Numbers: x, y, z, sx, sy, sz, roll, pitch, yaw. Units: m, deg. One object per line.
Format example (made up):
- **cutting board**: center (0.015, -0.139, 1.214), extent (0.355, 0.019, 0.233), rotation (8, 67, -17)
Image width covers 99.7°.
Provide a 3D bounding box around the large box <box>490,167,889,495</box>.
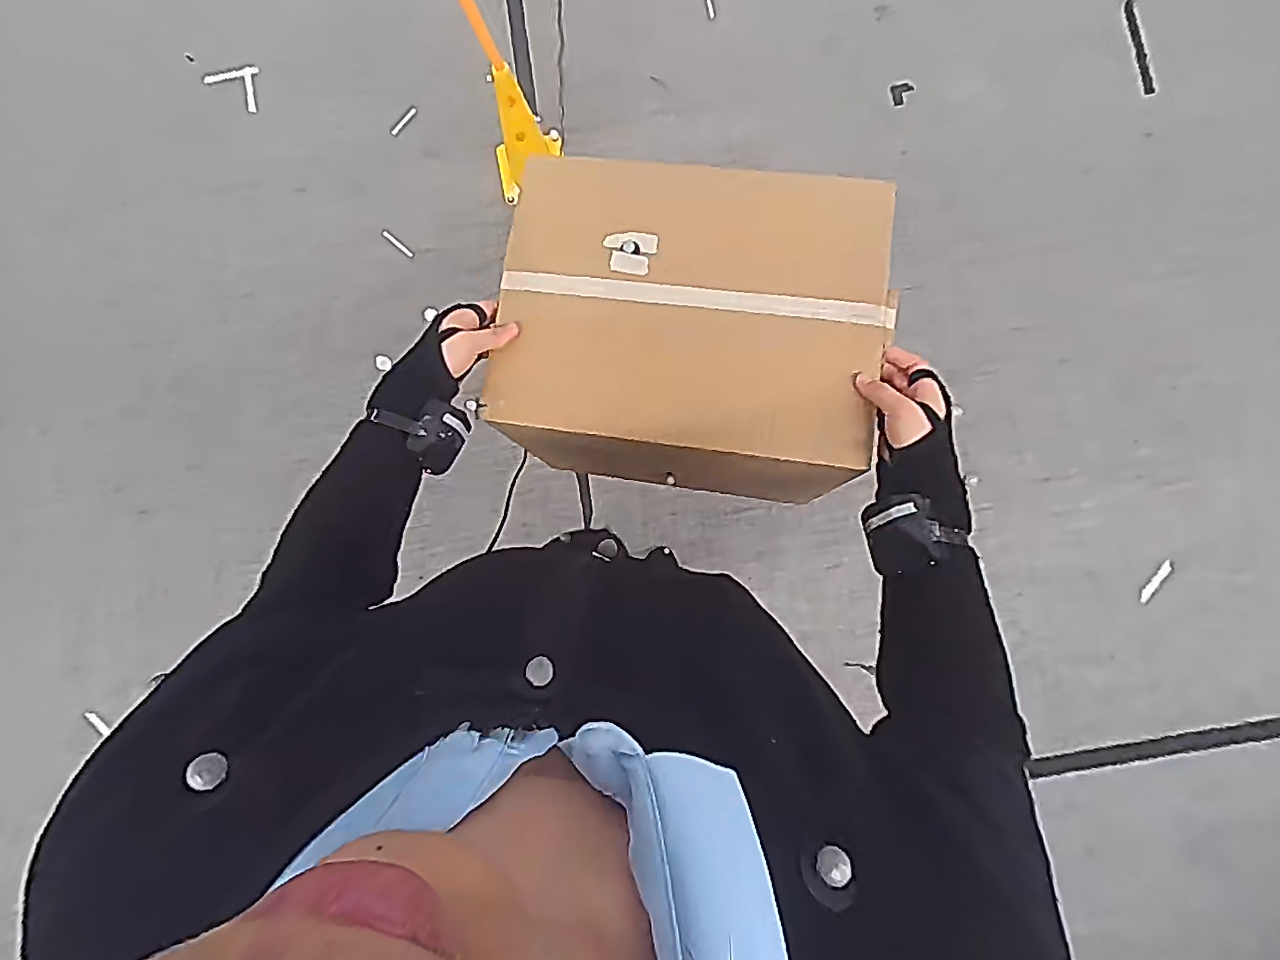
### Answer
- **large box**: center (0.070, -0.167, 0.724), extent (0.408, 0.320, 0.320), rotation (7, 80, 8)
